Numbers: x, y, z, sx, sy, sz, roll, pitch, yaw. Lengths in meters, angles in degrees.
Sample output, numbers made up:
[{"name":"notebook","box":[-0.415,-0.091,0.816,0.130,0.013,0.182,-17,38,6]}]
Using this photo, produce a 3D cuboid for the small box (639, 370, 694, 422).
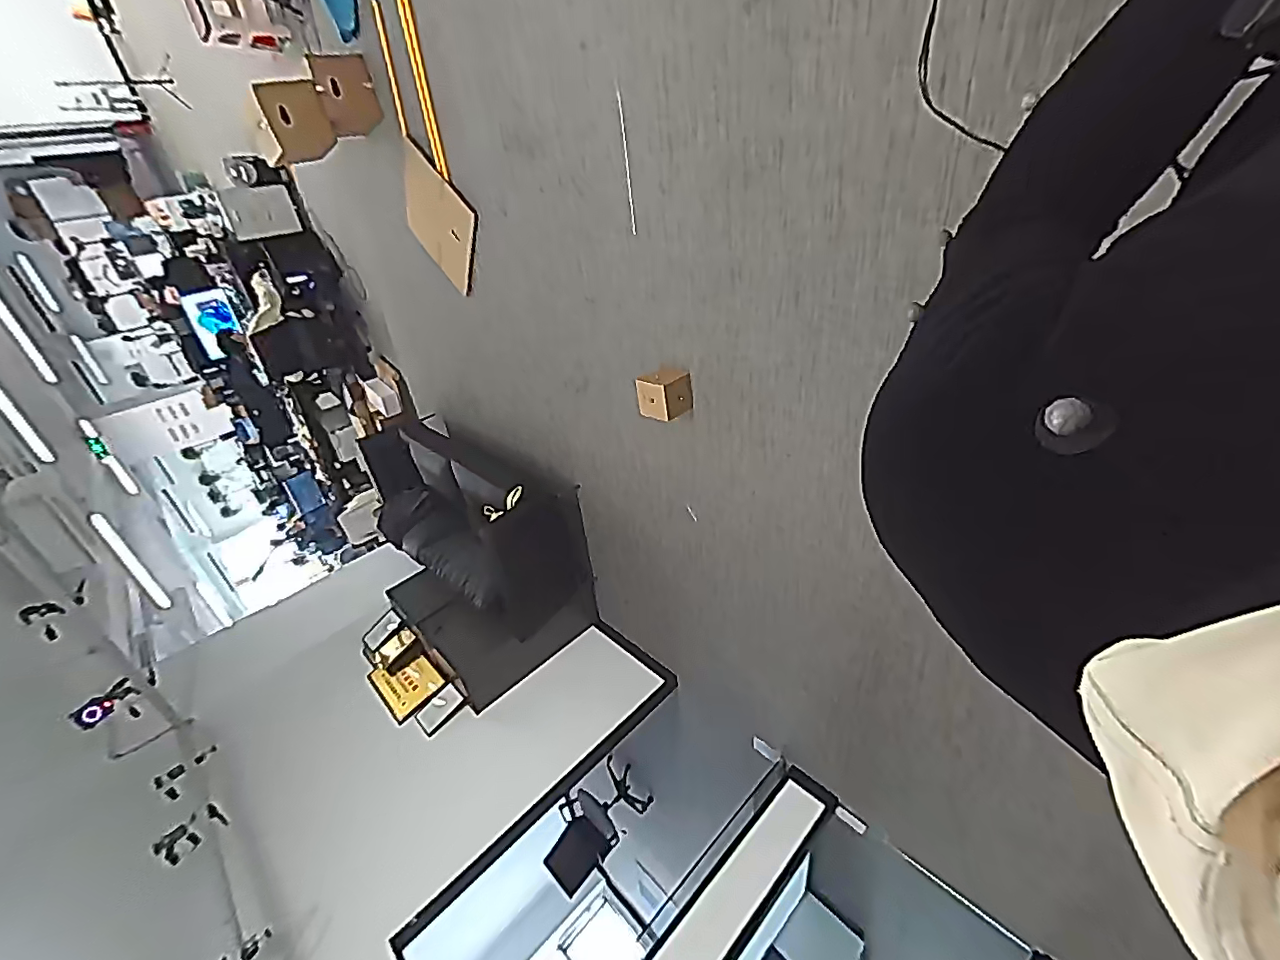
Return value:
[{"name":"small box","box":[0.124,-0.374,2.367,0.179,0.176,0.168,22,131,43]}]
